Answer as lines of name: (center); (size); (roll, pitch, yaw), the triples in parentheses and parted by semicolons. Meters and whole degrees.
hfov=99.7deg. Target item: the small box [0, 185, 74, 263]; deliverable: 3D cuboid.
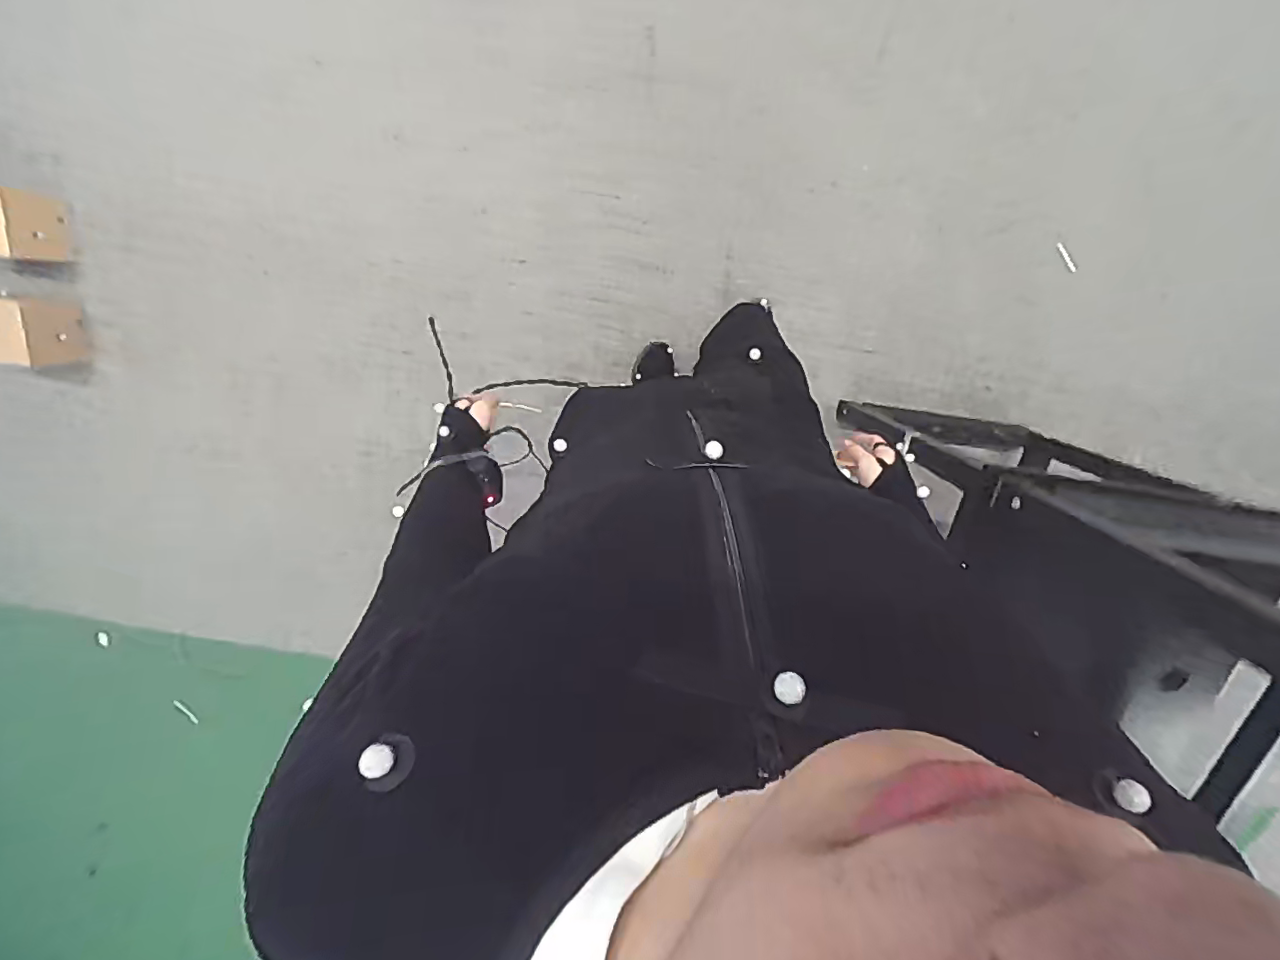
small box: (-1.592, -0.651, 1.363); (0.179, 0.176, 0.168); (10, 109, -3)

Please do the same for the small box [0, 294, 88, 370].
small box: (-1.637, -0.400, 1.444); (0.179, 0.176, 0.168); (10, 108, -3)
